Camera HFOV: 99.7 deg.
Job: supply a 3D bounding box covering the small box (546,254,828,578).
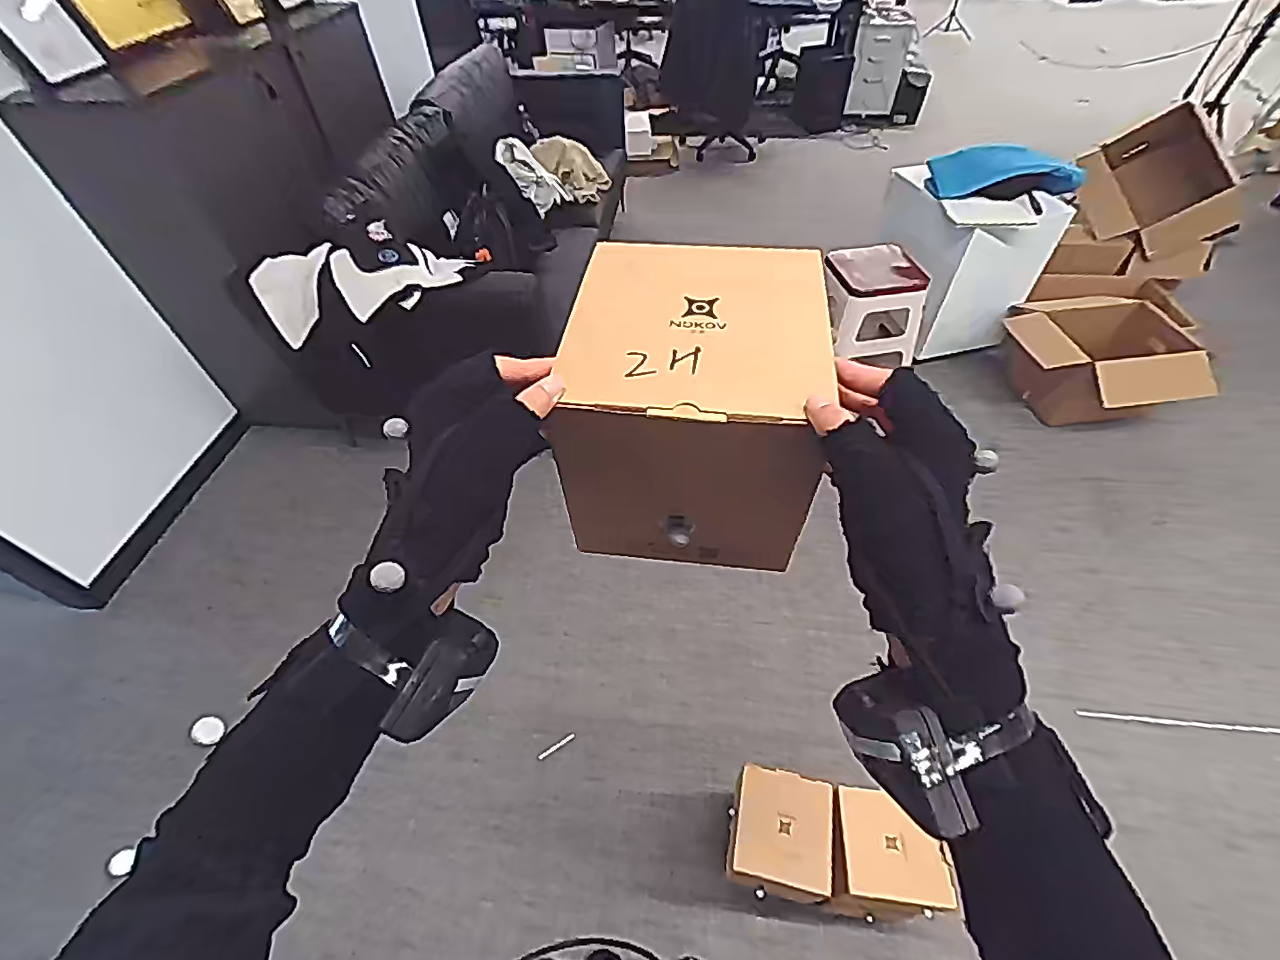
[{"bbox_3d":[0.039,-0.049,0.420,0.168,0.176,0.179,6,51,7],"label":"small box"}]
